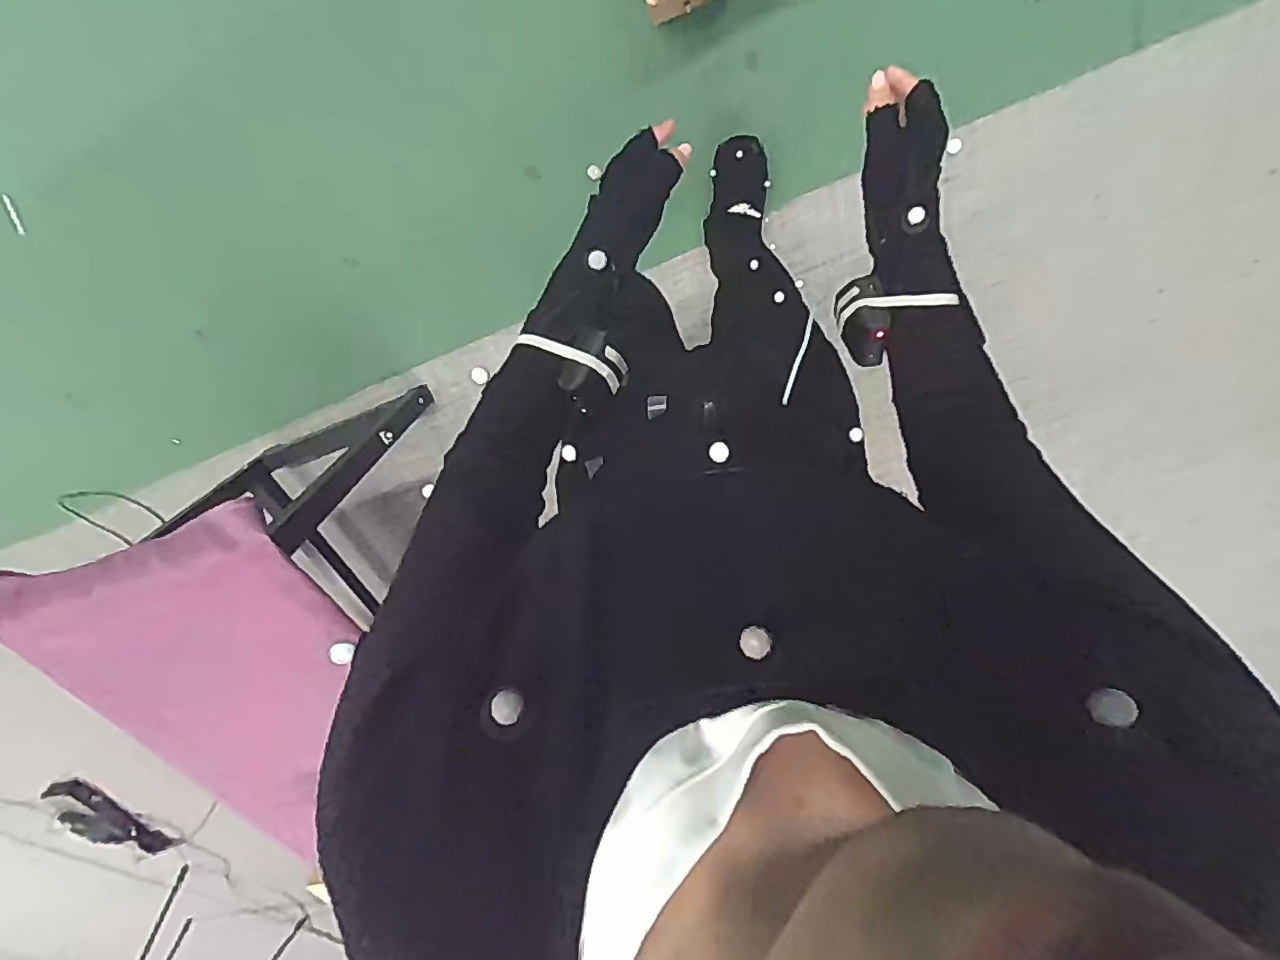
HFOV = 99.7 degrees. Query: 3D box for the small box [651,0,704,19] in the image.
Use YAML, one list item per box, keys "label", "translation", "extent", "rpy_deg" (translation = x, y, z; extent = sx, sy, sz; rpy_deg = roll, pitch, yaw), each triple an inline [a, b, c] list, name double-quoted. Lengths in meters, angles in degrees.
- label: "small box"
  translation: [0.076, -0.929, 0.910]
  extent: [0.168, 0.176, 0.179]
  rpy_deg: [-15, 120, 13]
